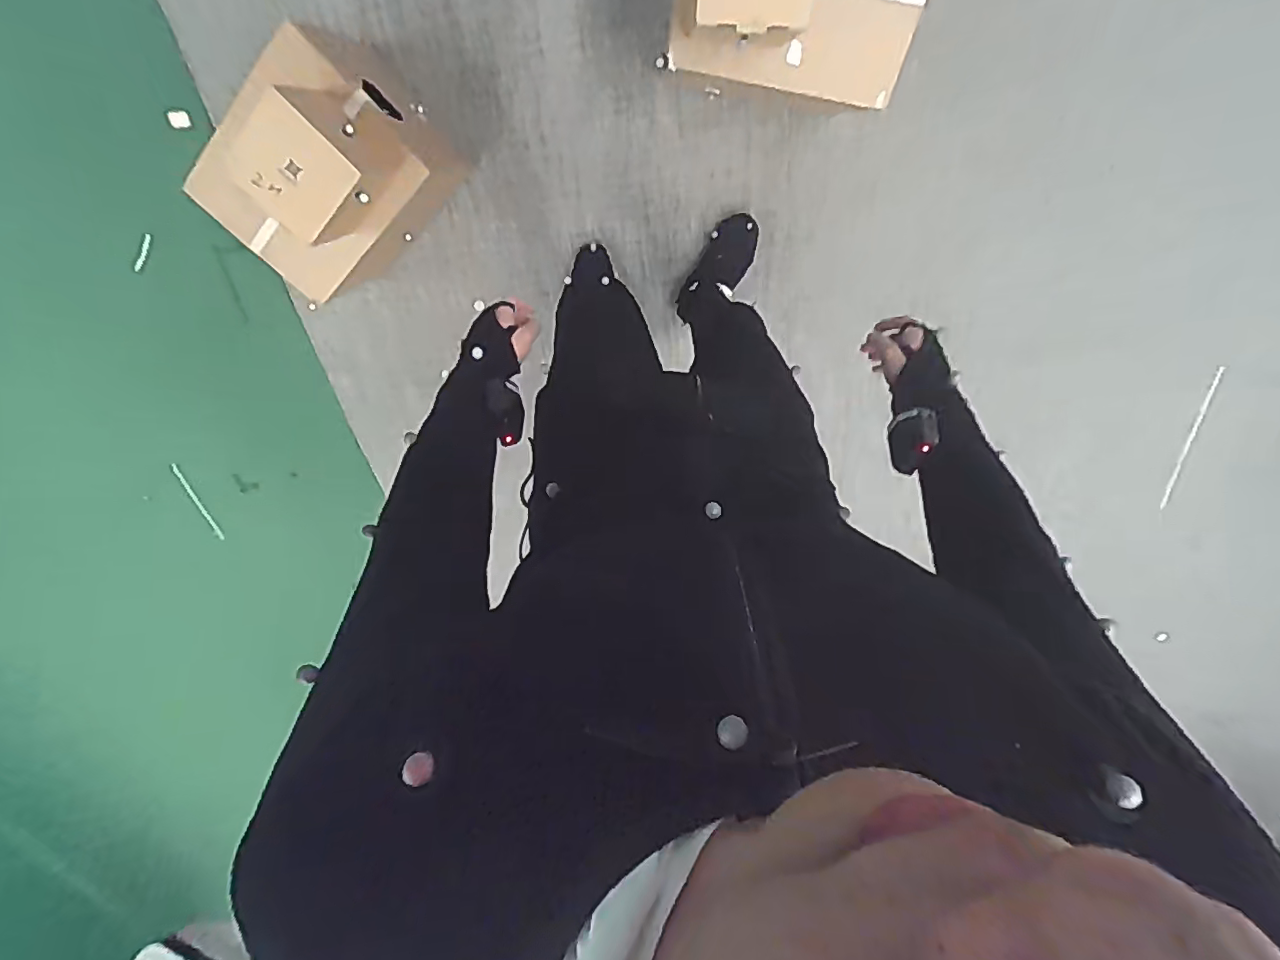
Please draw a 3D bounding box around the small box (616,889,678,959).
[{"bbox_3d":[0.023,1.355,1.620,0.168,0.176,0.179,-6,123,6],"label":"small box"}]

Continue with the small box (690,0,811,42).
[{"bbox_3d":[0.165,-0.766,0.795,0.168,0.176,0.179,3,124,0],"label":"small box"}]

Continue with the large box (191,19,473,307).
[{"bbox_3d":[-0.639,-0.664,1.176,0.408,0.320,0.320,-36,113,22],"label":"large box"}]

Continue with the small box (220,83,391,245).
[{"bbox_3d":[-0.571,-0.553,0.952,0.179,0.176,0.168,-36,115,22],"label":"small box"}]
